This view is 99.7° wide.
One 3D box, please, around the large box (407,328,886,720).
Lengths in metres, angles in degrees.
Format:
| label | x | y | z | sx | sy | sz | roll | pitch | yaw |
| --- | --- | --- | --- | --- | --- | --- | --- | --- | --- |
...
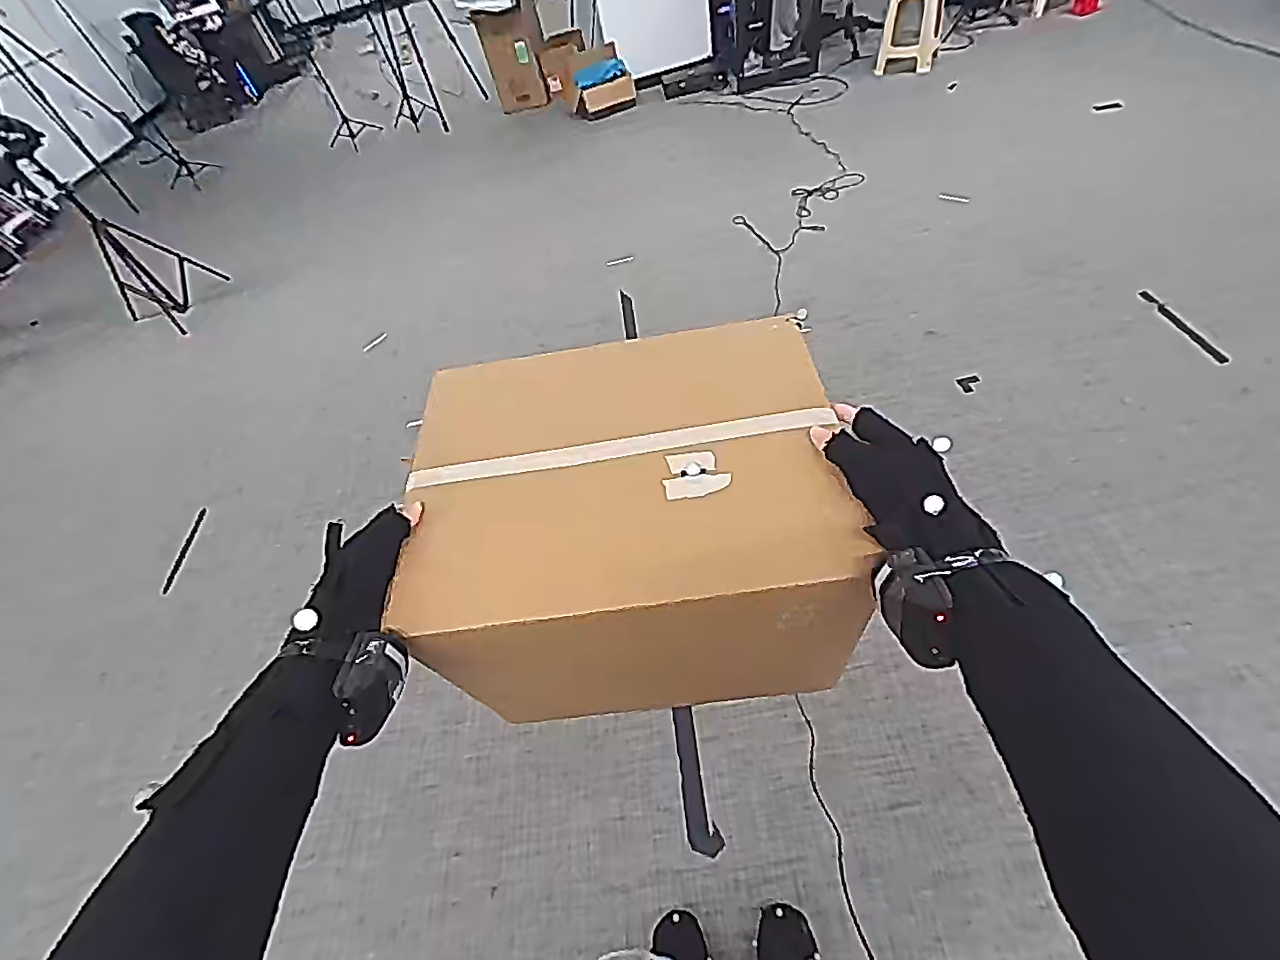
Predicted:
| label | x | y | z | sx | sy | sz | roll | pitch | yaw |
| --- | --- | --- | --- | --- | --- | --- | --- | --- | --- |
| large box | 0.005 | 0.066 | 0.642 | 0.408 | 0.320 | 0.320 | -8 | 54 | 3 |
